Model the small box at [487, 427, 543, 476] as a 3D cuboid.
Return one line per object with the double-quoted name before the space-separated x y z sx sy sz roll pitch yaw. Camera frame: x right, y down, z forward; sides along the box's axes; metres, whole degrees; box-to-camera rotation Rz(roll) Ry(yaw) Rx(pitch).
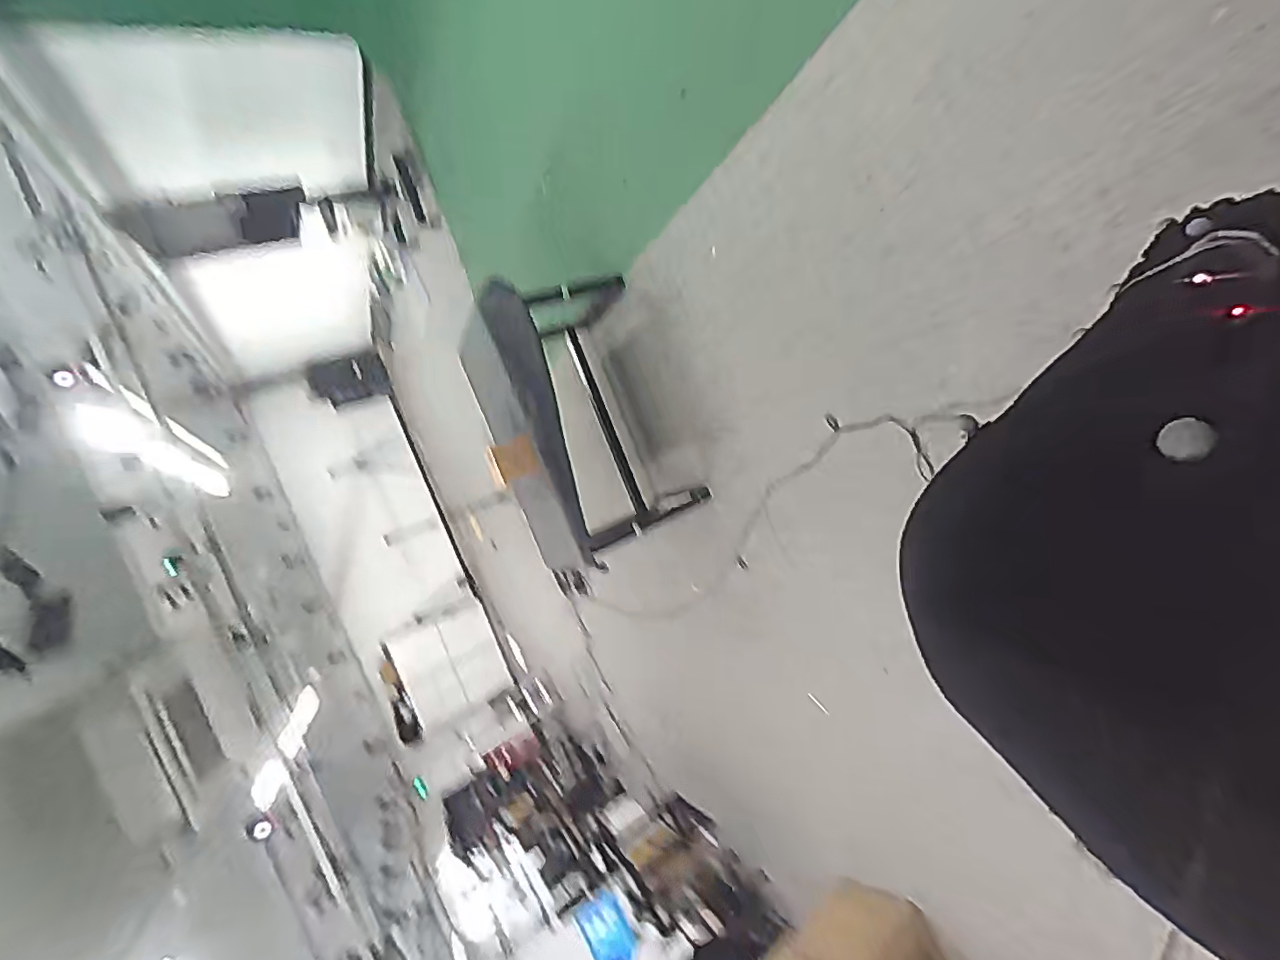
"small box" -0.549 -0.129 2.374 0.168 0.176 0.179 -5 107 65
